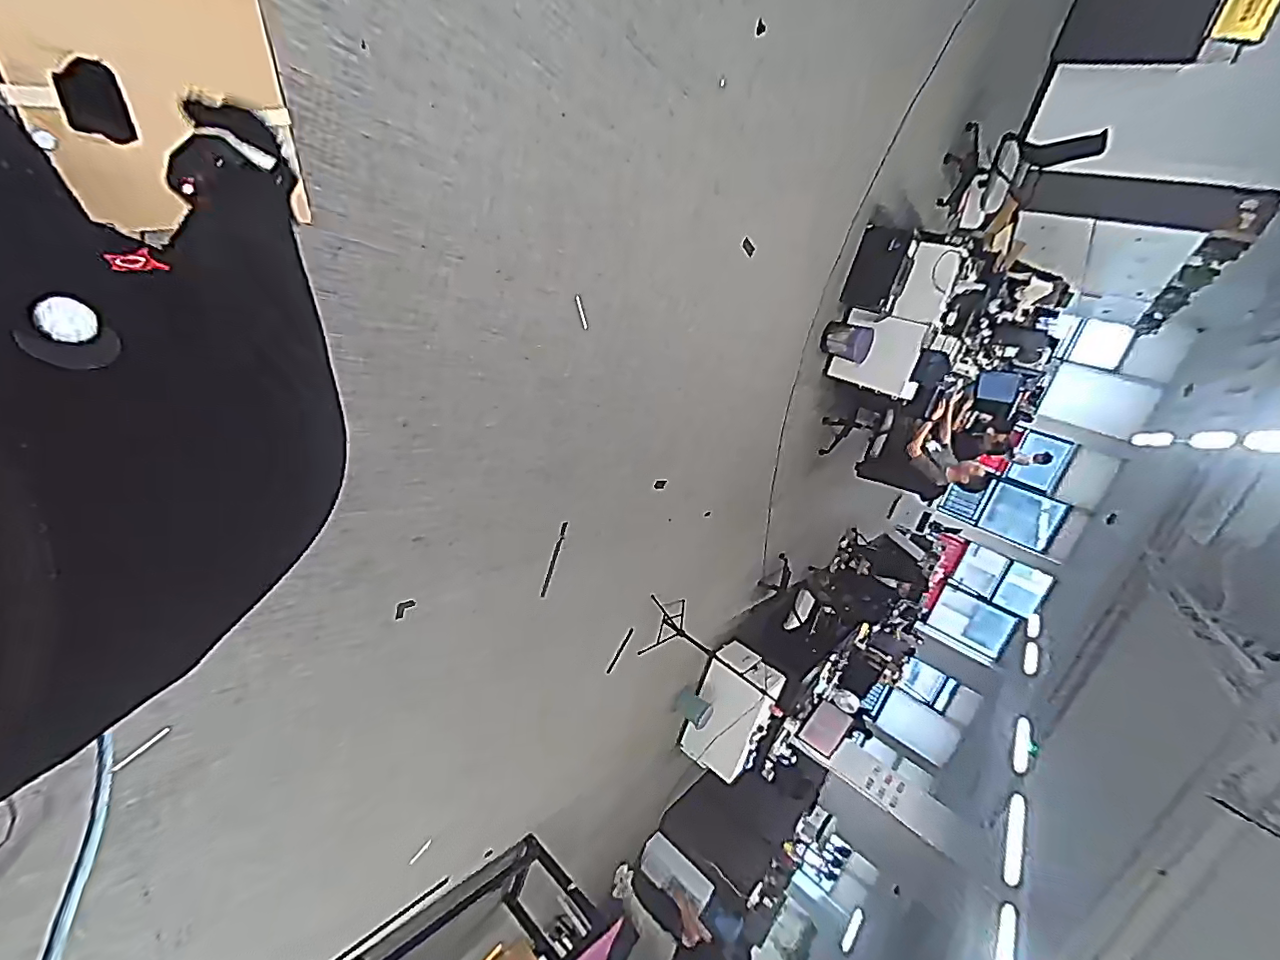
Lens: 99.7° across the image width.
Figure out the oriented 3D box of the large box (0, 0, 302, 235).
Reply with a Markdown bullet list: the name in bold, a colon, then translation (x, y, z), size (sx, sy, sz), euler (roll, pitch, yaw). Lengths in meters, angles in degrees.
- **large box**: translation (-0.815, -0.595, 0.873), size (0.320, 0.408, 0.320), euler (-26, 132, -39)
